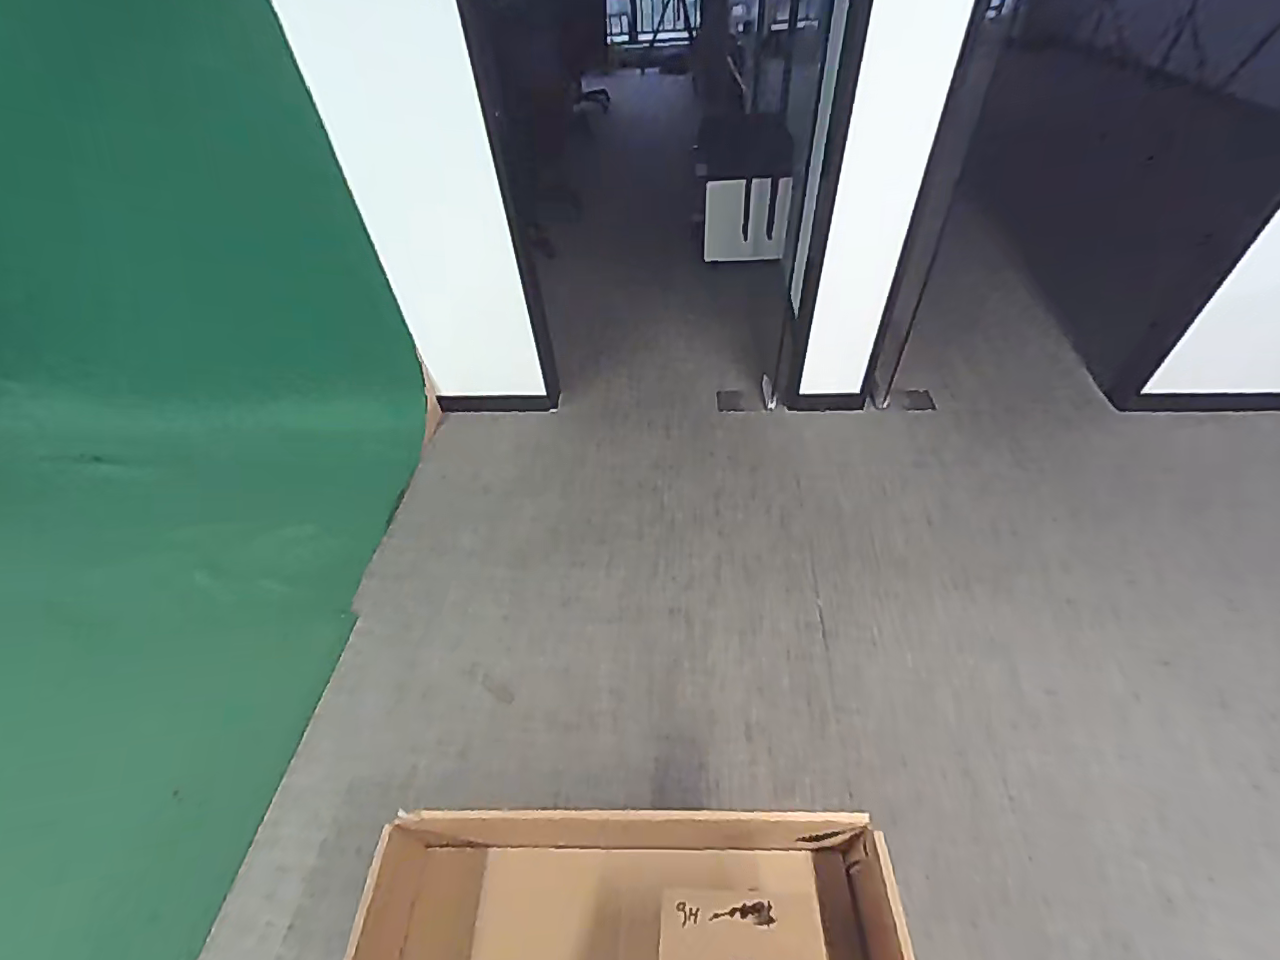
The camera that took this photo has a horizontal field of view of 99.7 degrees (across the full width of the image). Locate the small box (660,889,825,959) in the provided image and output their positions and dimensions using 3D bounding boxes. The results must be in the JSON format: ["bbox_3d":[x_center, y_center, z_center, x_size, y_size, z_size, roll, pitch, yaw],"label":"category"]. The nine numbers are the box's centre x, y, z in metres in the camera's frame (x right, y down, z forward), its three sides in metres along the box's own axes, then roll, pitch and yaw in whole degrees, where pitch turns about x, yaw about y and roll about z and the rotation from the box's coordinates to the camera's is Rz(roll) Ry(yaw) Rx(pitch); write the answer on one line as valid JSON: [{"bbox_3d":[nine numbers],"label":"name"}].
[{"bbox_3d":[0.107,0.561,0.550,0.168,0.176,0.179,-3,25,7],"label":"small box"}]
